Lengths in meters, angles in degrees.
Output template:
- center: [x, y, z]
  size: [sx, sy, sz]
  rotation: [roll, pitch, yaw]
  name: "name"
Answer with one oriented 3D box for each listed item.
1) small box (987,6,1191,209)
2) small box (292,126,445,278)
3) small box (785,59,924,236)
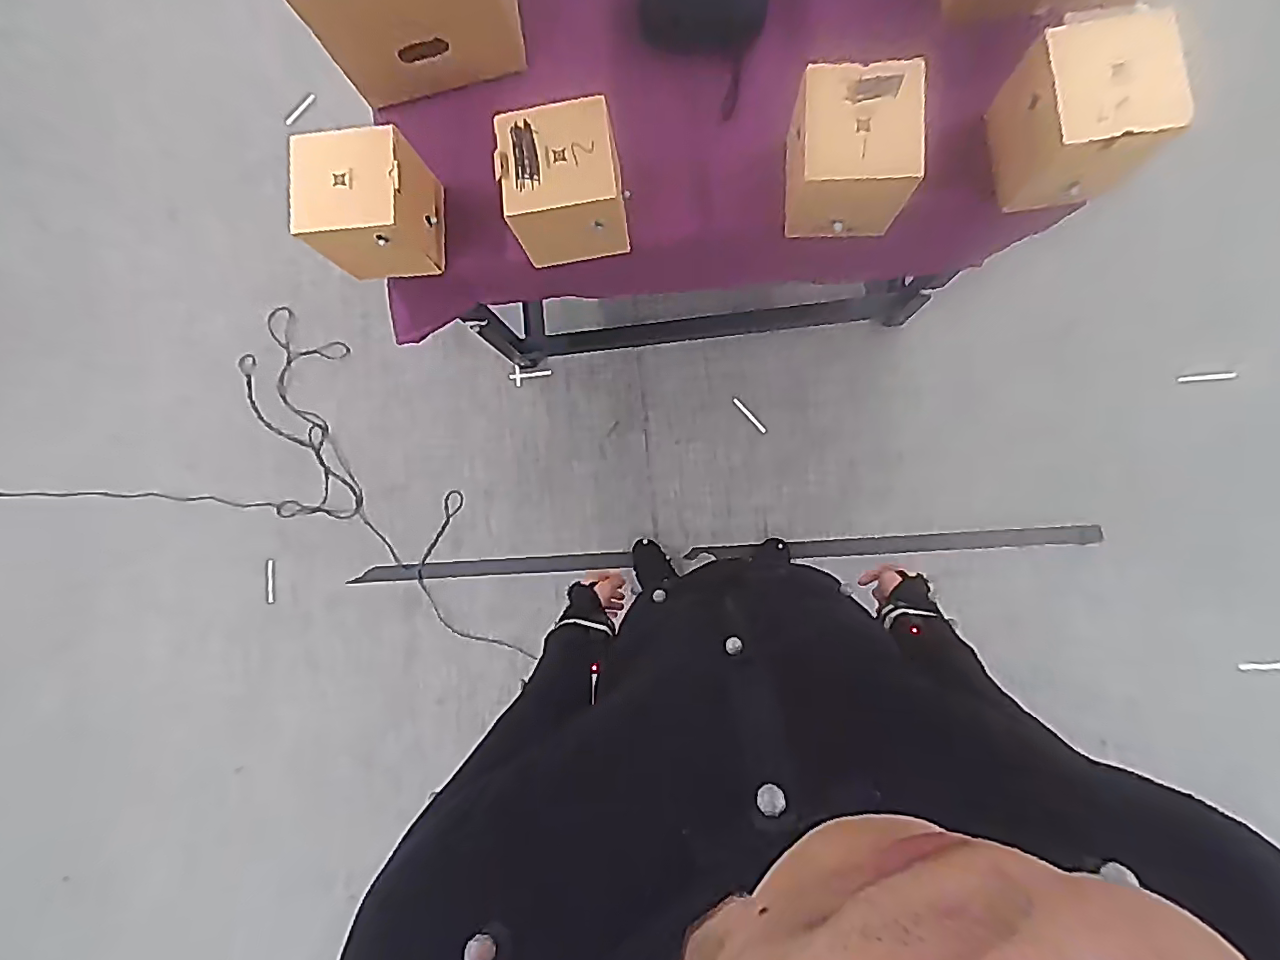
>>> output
- center: [0.654, -0.544, 0.812]
  size: [0.168, 0.176, 0.179]
  rotation: [-6, 86, 7]
  name: "small box"
- center: [-0.454, -0.461, 0.924]
  size: [0.179, 0.176, 0.168]
  rotation: [-3, 86, 4]
  name: "small box"
- center: [0.325, -0.508, 0.846]
  size: [0.168, 0.176, 0.179]
  rotation: [1, 88, 6]
  name: "small box"
